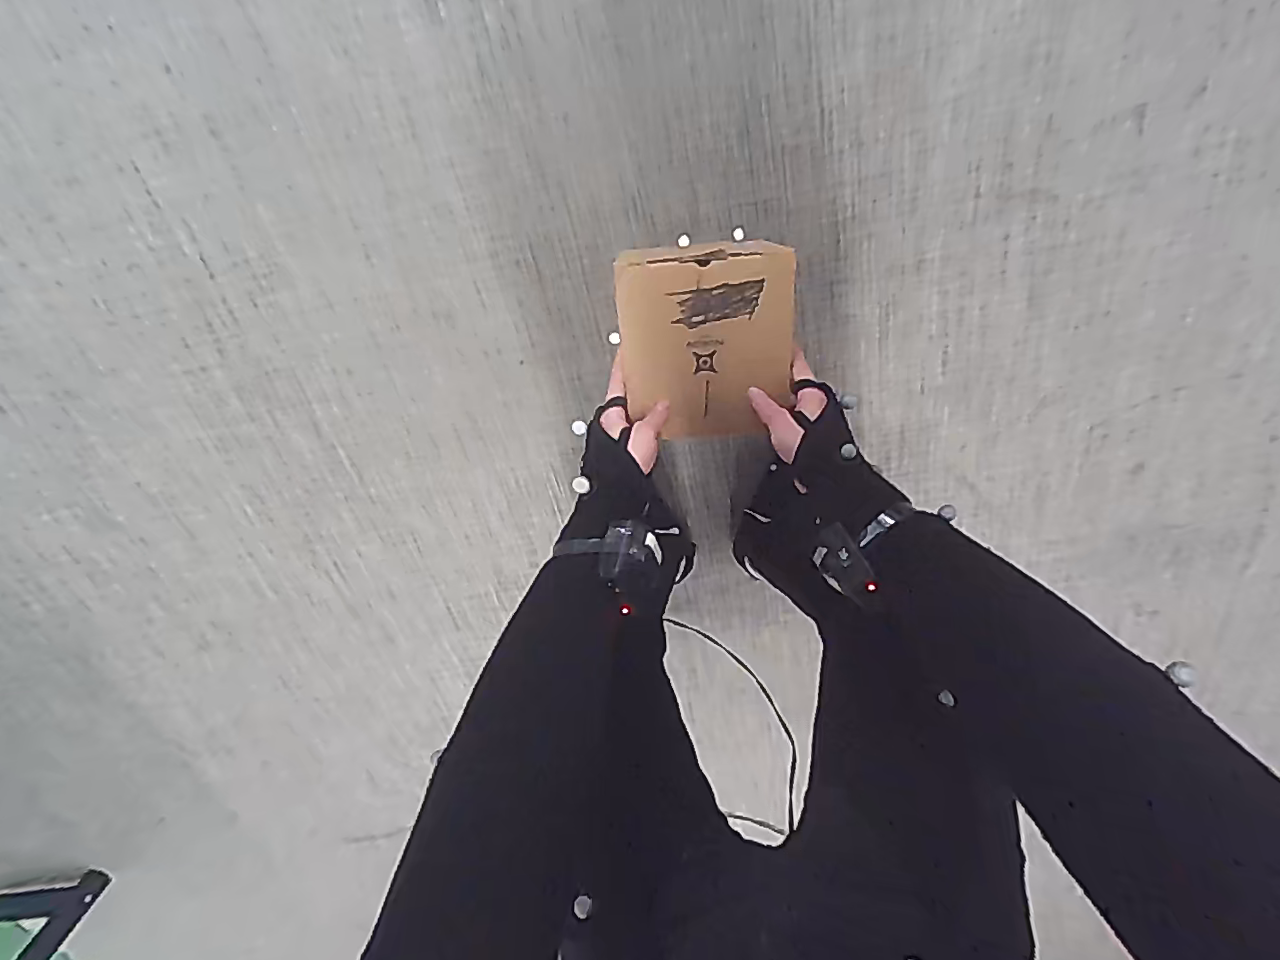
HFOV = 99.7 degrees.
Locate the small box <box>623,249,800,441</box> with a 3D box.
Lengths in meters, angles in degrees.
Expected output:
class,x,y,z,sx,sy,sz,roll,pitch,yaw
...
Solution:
class,x,y,z,sx,sy,sz,roll,pitch,yaw
small box,0.071,-0.157,0.598,0.168,0.176,0.179,-3,116,3
